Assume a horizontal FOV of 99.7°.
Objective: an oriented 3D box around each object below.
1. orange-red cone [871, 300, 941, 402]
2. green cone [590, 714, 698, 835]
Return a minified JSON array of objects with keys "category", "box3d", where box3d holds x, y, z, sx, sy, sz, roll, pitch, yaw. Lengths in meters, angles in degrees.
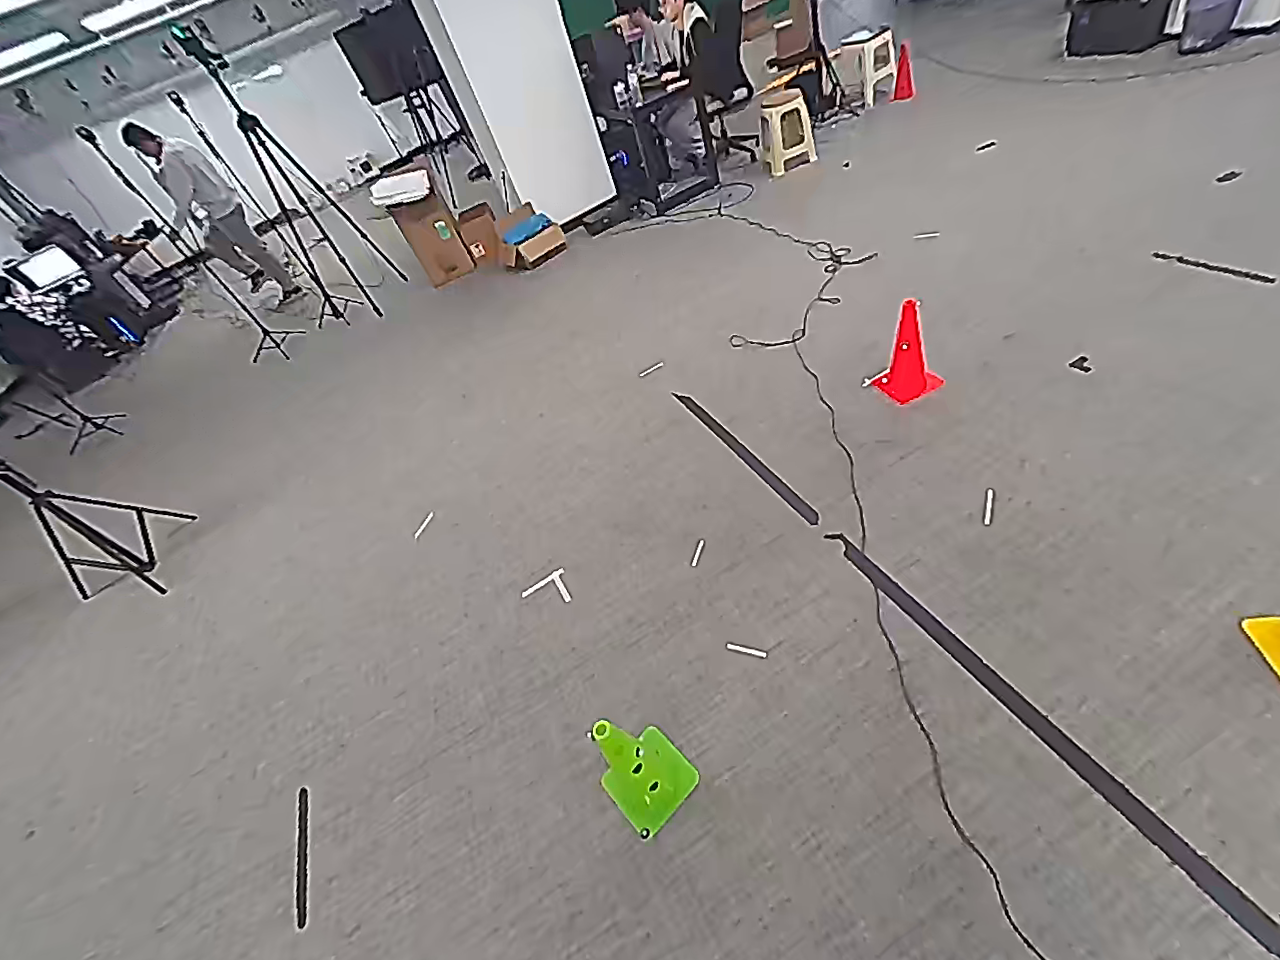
[{"category":"orange-red cone","box3d":[0.985,-0.499,1.997,0.198,0.360,0.199,-26,43,-1]},{"category":"green cone","box3d":[-0.028,0.649,1.284,0.200,0.368,0.202,-41,43,-19]}]
